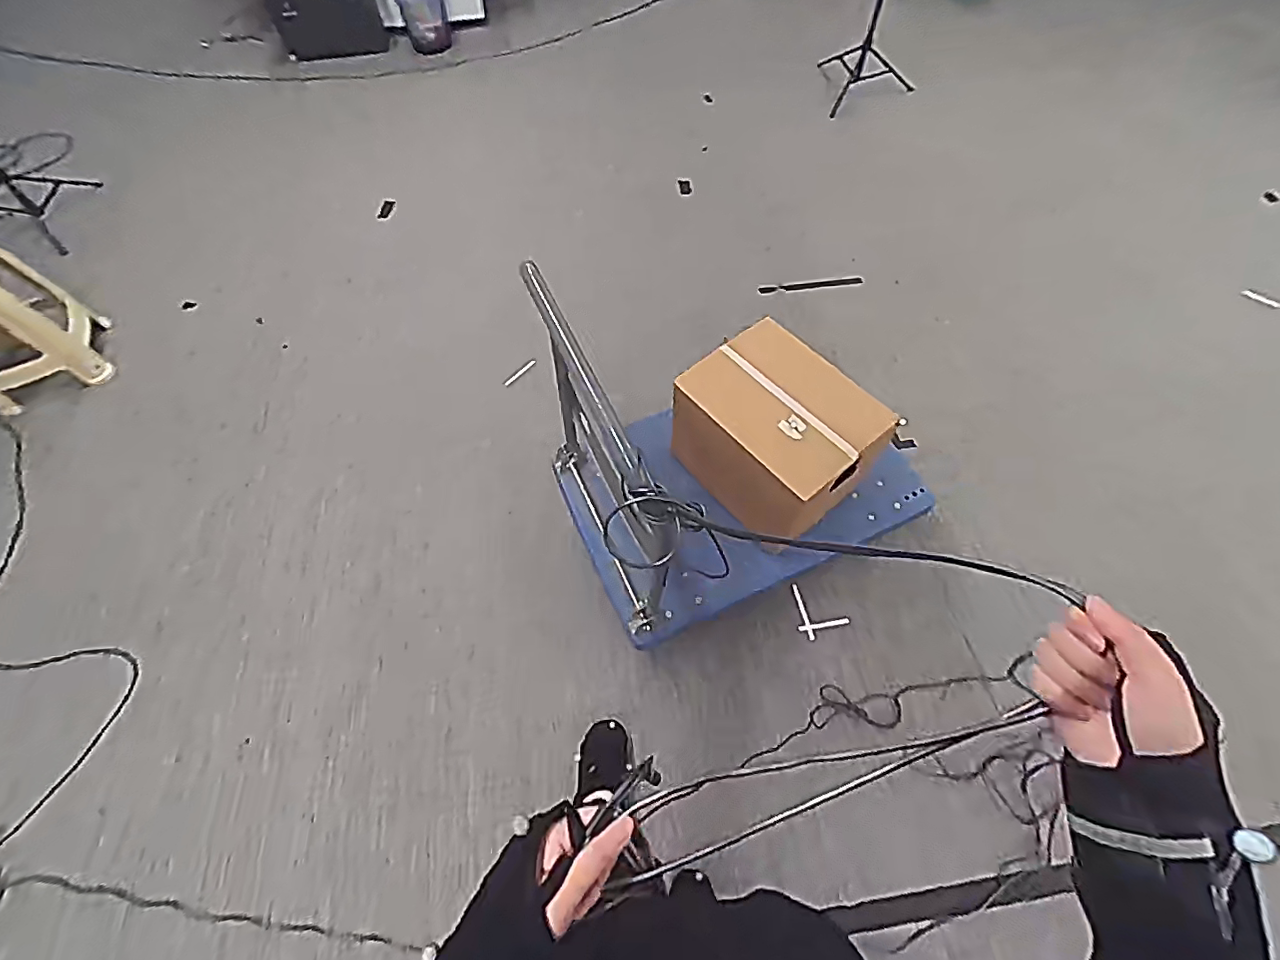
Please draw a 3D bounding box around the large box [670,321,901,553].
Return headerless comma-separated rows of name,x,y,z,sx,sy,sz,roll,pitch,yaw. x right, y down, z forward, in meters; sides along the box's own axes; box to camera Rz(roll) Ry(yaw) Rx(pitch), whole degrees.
large box,0.319,-0.101,1.317,0.320,0.320,0.408,-37,67,-16
